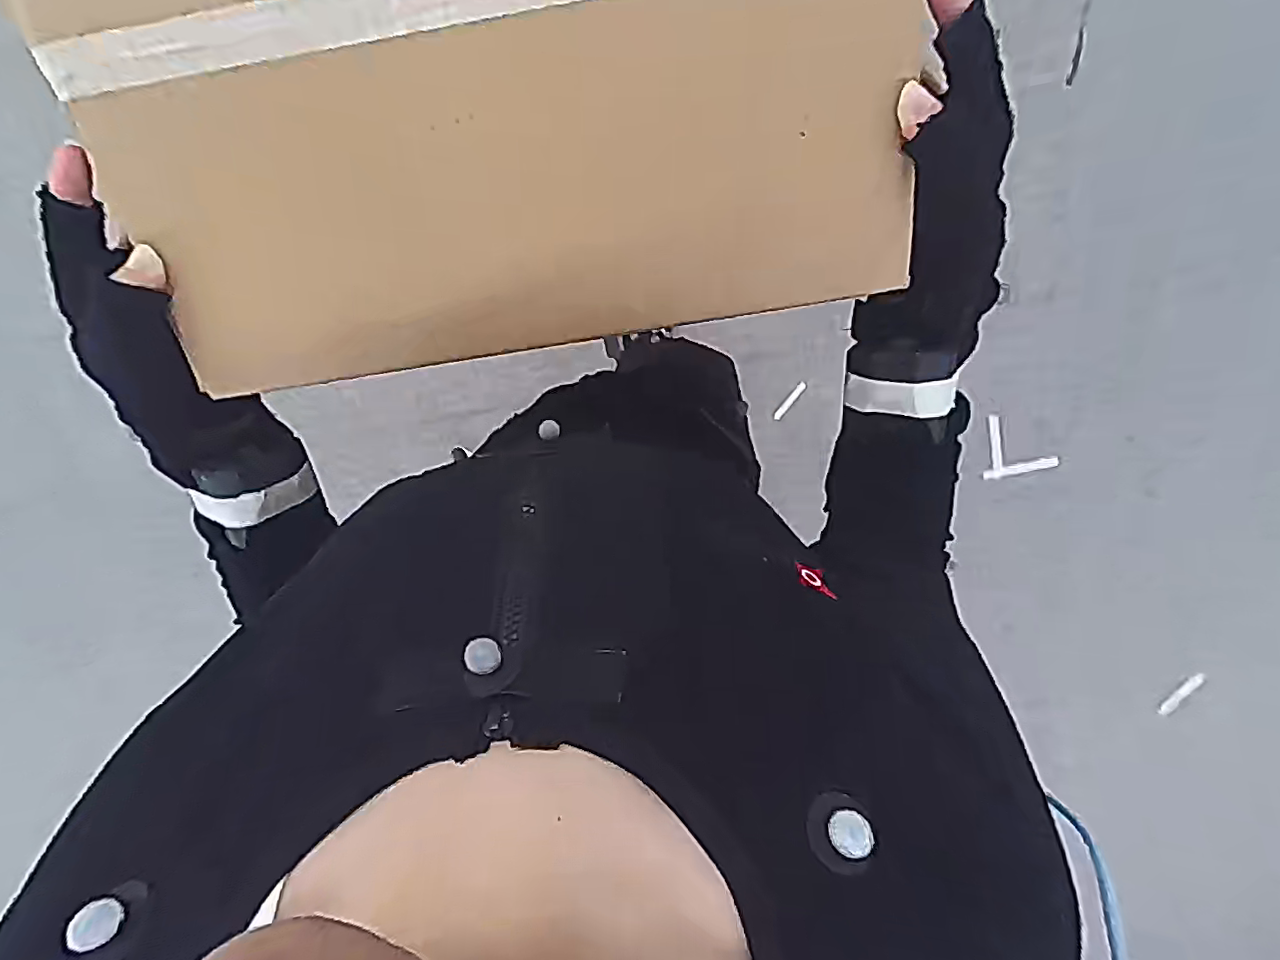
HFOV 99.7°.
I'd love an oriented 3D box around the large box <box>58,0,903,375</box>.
[{"bbox_3d":[-0.079,-0.290,0.392,0.408,0.320,0.320,-9,114,2],"label":"large box"}]
